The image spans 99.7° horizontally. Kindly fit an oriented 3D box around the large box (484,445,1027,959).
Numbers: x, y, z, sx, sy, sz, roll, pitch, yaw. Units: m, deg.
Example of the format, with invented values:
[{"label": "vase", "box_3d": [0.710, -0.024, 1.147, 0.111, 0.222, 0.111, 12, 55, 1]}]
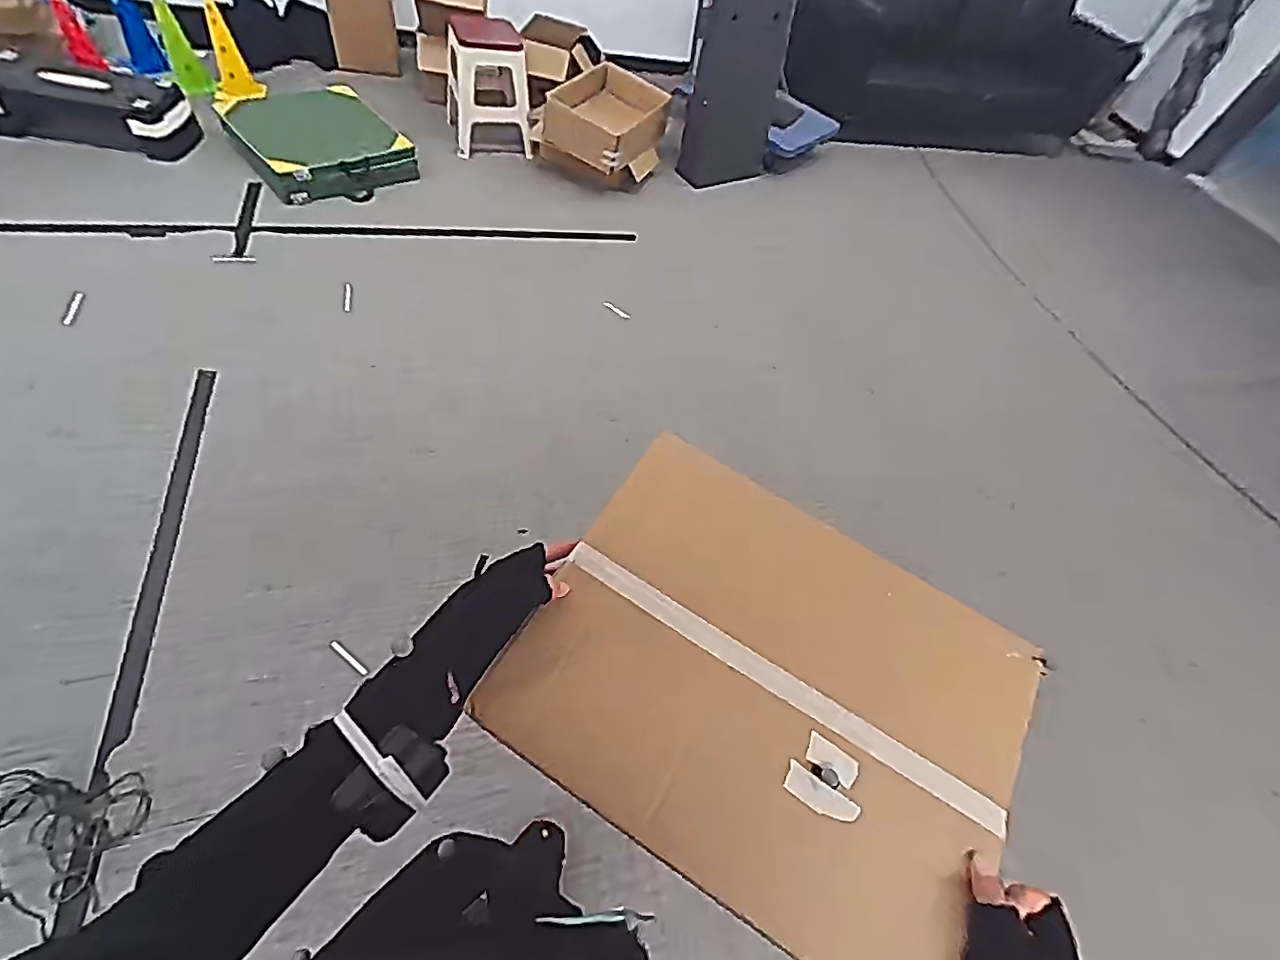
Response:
[{"label": "large box", "box_3d": [0.100, 0.237, 0.602, 0.408, 0.320, 0.320, 32, 66, 9]}]
